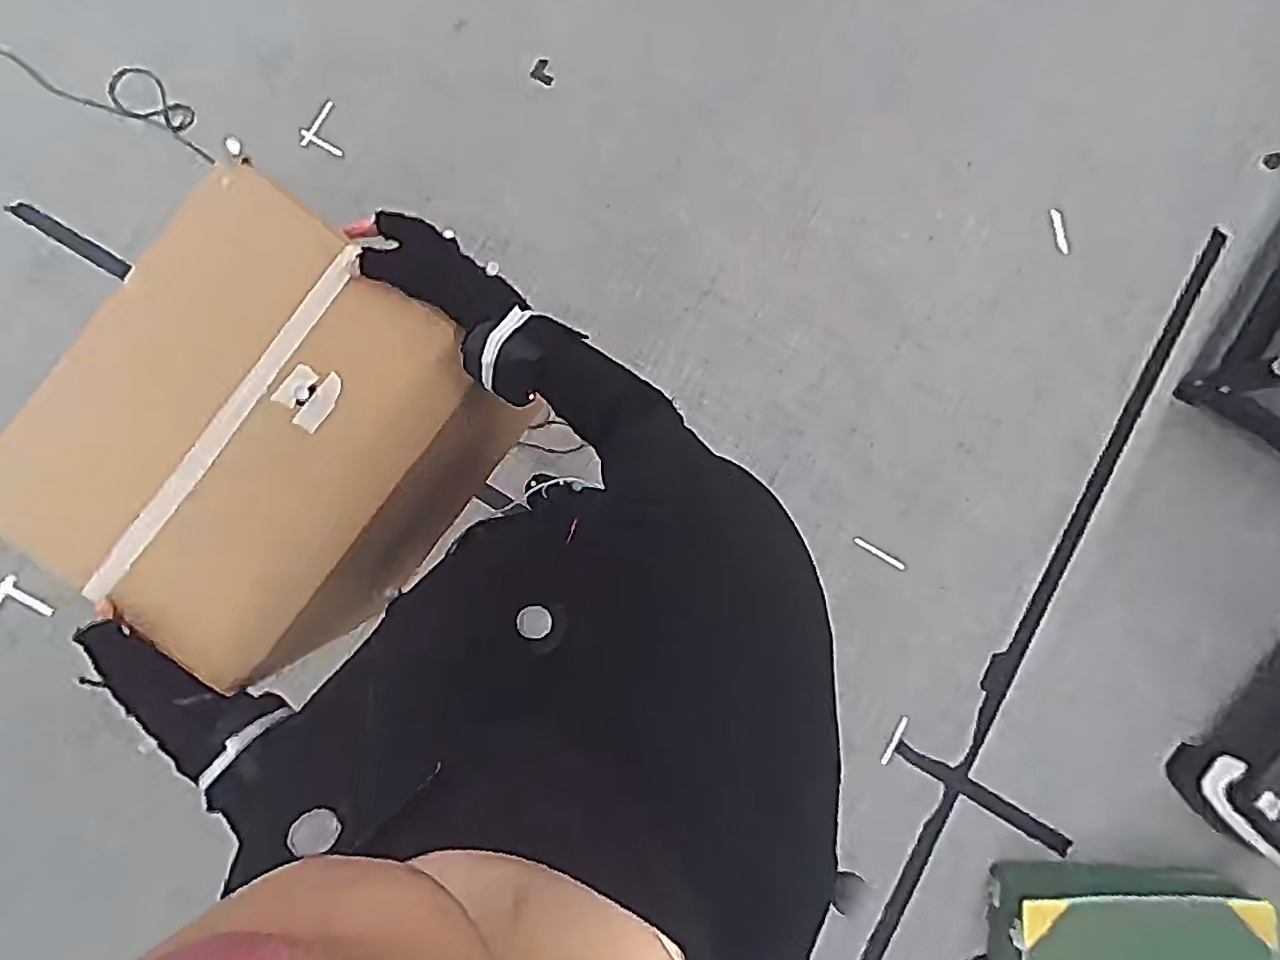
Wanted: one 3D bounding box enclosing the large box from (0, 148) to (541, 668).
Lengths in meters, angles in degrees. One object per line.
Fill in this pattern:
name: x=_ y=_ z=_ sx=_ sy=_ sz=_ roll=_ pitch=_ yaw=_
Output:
large box: x=-0.378 y=-0.065 z=0.658 sx=0.320 sy=0.320 sz=0.408 roll=37 pitch=88 yaw=-2
